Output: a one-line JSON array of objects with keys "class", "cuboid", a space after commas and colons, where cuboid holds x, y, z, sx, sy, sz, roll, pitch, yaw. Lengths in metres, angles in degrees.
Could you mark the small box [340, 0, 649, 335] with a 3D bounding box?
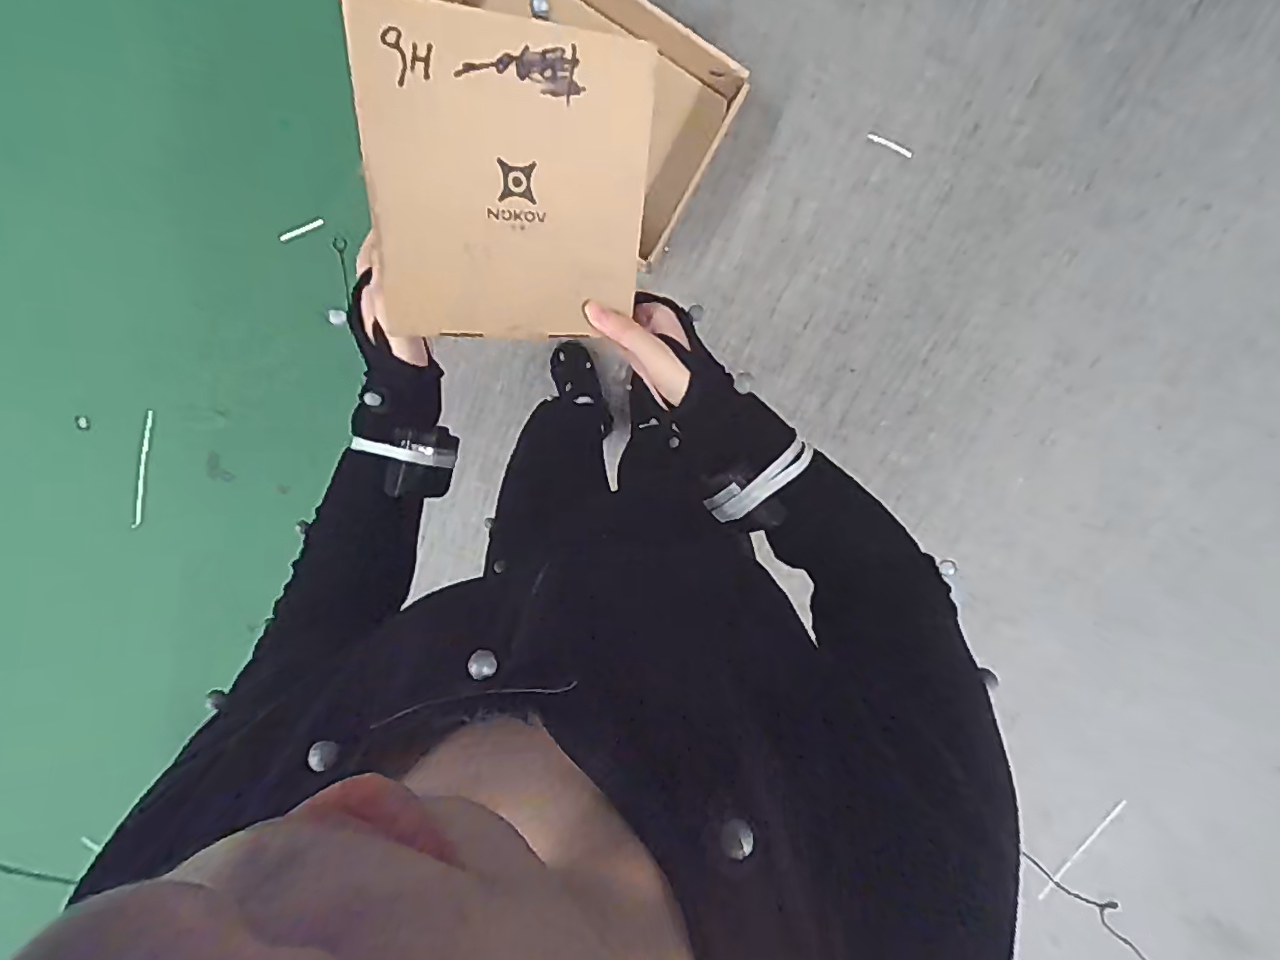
[{"class": "small box", "cuboid": [-0.105, -0.221, 0.397, 0.168, 0.176, 0.179, -3, 123, -18]}]
